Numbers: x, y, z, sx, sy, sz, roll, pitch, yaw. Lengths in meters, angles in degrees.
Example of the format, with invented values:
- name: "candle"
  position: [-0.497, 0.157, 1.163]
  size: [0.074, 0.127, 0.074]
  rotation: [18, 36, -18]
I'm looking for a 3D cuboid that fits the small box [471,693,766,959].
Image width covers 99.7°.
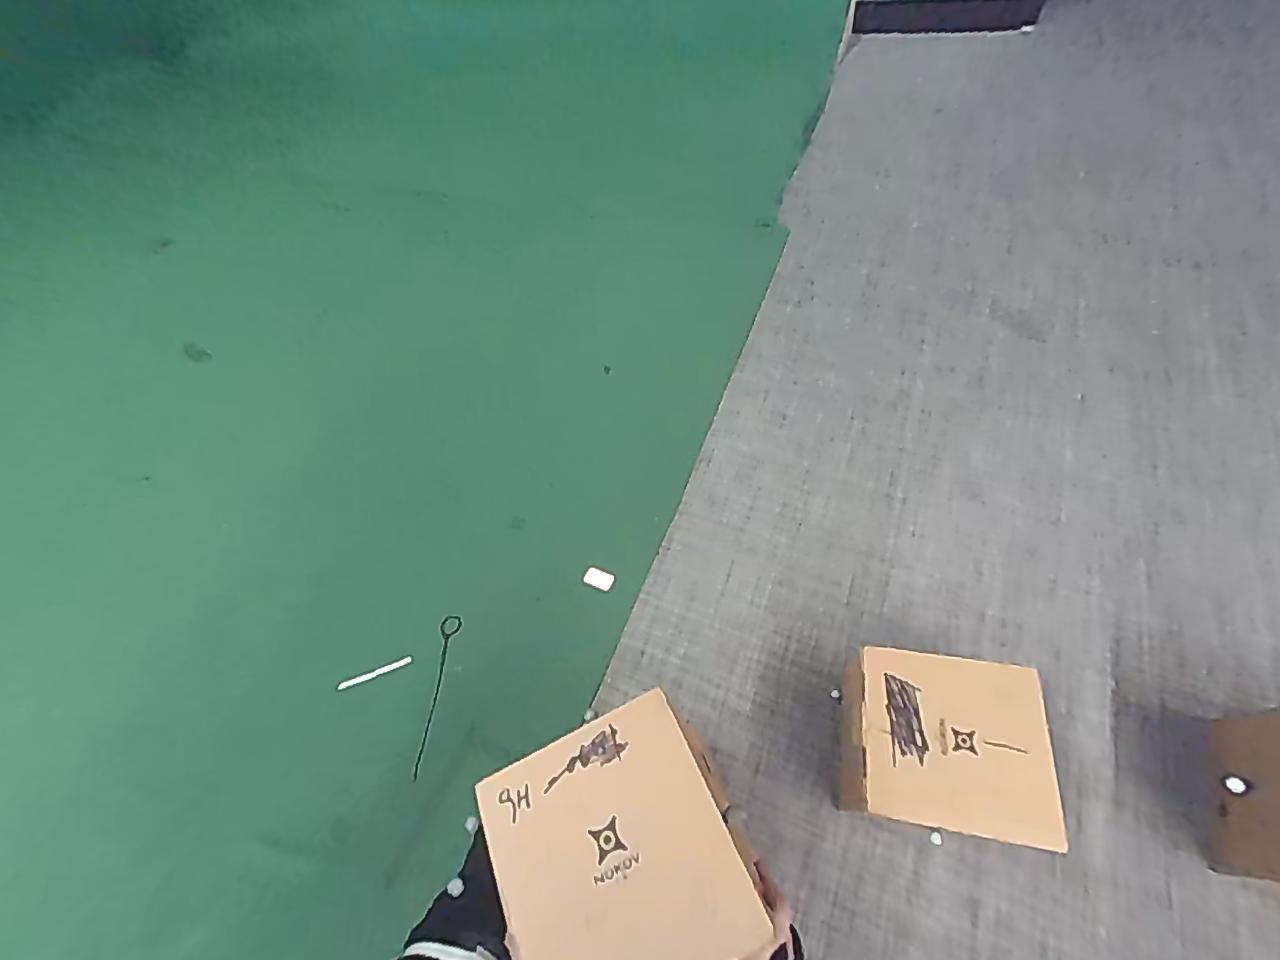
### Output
- name: "small box"
  position: [-0.011, 0.306, 0.448]
  size: [0.168, 0.176, 0.179]
  rotation: [-25, 58, -5]

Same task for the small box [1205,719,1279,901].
- name: "small box"
  position: [0.710, 0.338, 0.518]
  size: [0.179, 0.176, 0.168]
  rotation: [16, 63, 19]
